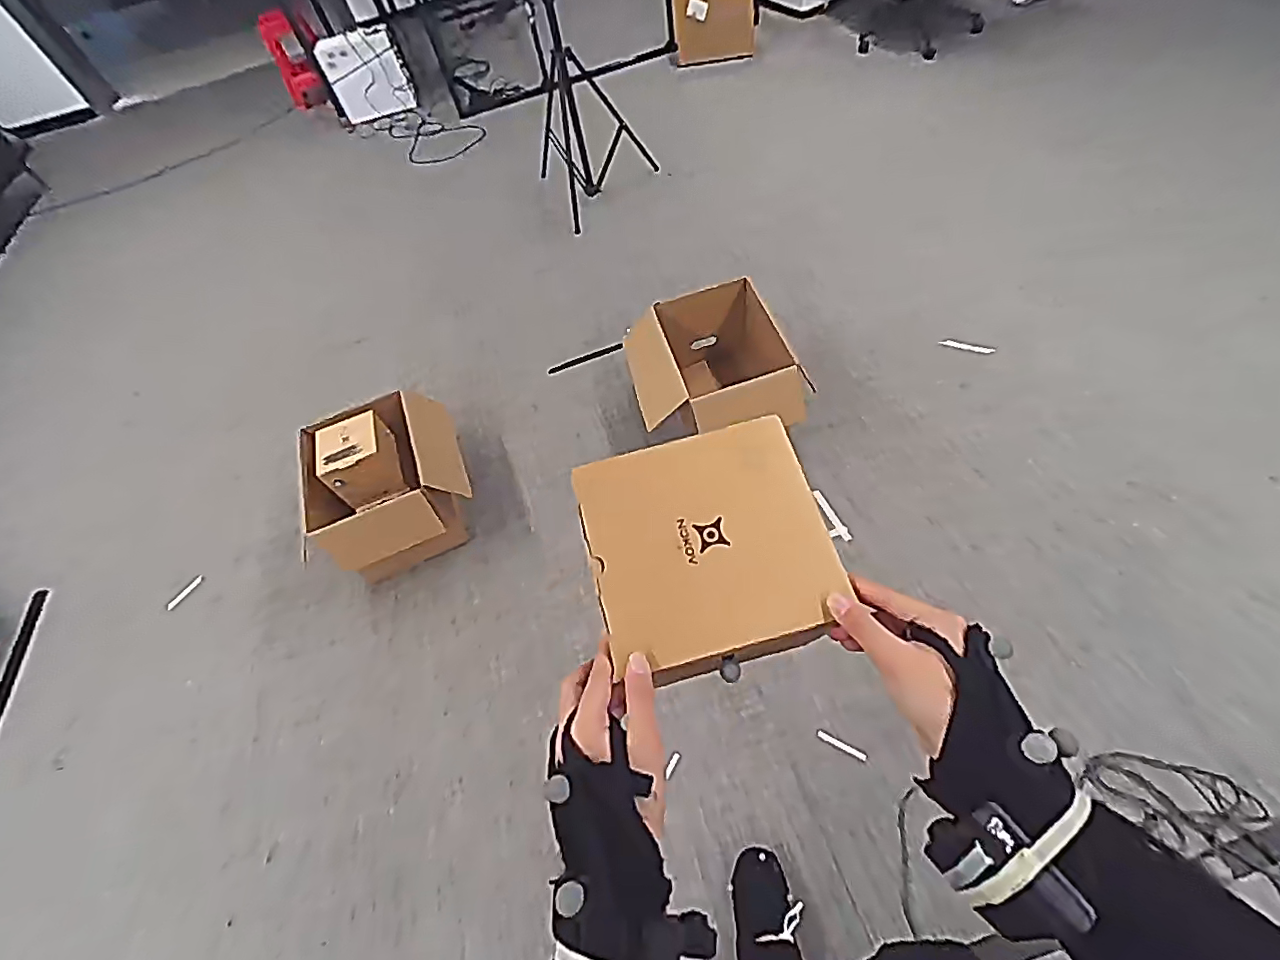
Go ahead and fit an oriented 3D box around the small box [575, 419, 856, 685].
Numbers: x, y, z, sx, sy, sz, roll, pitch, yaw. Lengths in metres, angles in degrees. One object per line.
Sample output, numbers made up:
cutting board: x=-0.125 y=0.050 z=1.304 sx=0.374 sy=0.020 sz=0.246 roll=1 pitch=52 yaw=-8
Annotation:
small box: x=0.055 y=0.074 z=0.477 sx=0.179 sy=0.176 sz=0.168 roll=-15 pitch=66 yaw=-2
